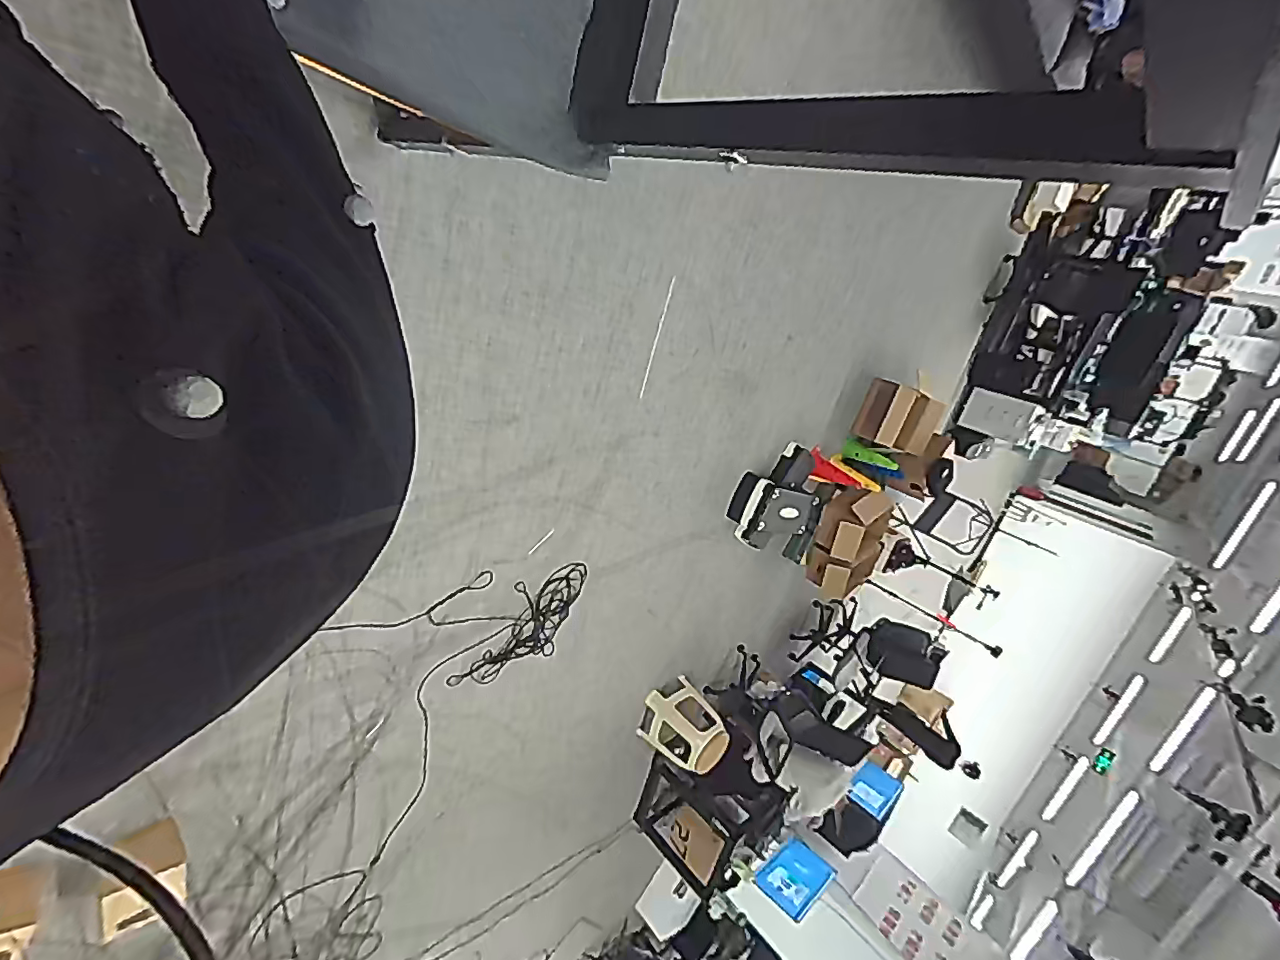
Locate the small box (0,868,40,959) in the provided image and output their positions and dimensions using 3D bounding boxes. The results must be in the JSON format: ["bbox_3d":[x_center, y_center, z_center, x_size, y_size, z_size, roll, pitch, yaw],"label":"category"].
[{"bbox_3d":[-1.541,1.053,1.252,0.179,0.176,0.168,19,98,-50],"label":"small box"}]
